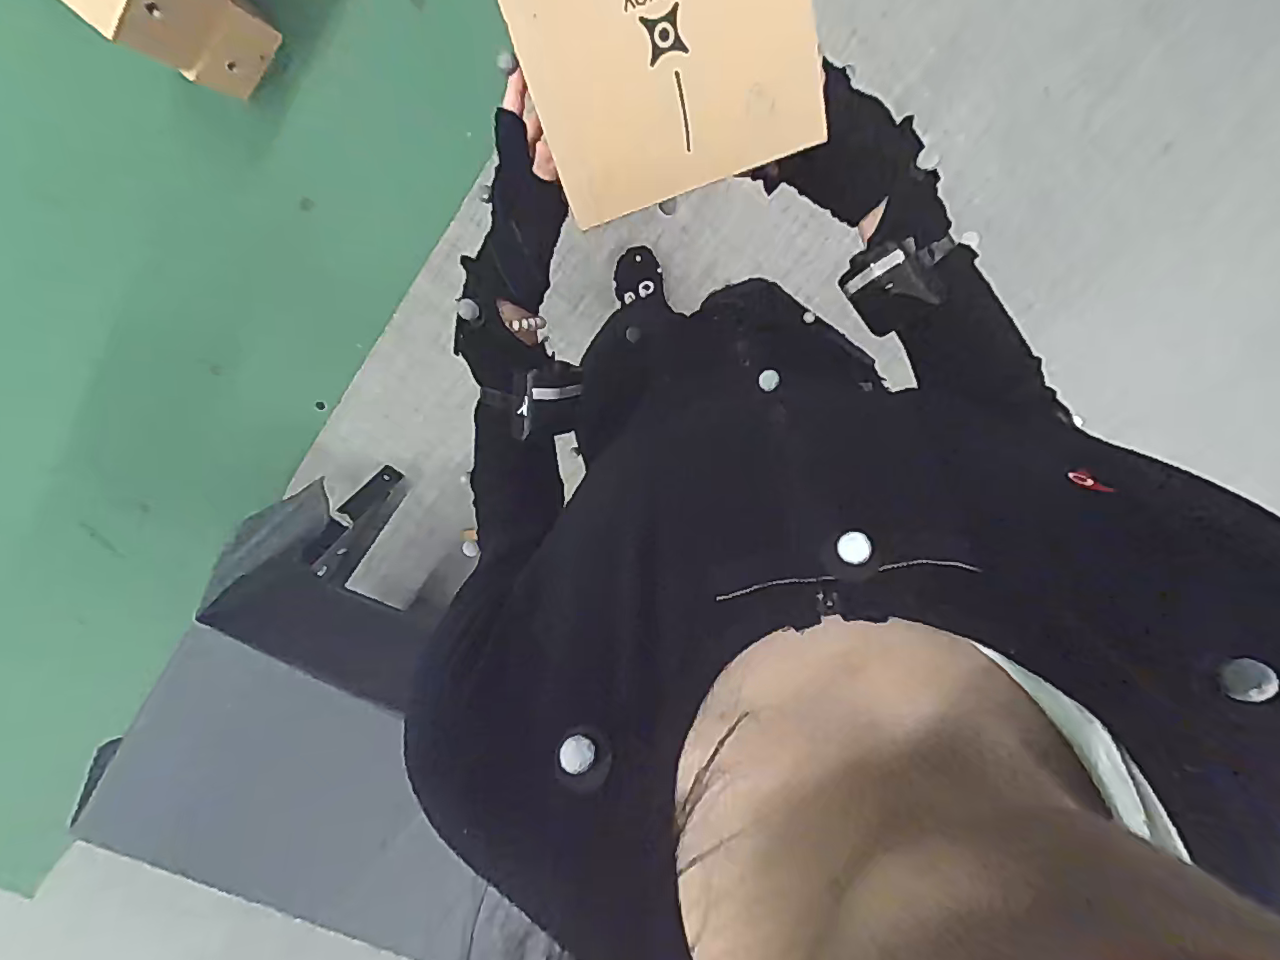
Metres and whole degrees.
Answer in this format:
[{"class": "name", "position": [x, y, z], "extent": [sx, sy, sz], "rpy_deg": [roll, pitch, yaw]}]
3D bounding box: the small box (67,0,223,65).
[{"class": "small box", "position": [-0.857, -0.855, 0.907], "extent": [0.168, 0.176, 0.179], "rpy_deg": [40, 106, -16]}]

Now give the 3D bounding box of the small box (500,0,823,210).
[{"class": "small box", "position": [0.000, -0.298, 0.361], "extent": [0.168, 0.176, 0.179], "rpy_deg": [-18, 119, 3]}]

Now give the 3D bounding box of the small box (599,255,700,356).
[{"class": "small box", "position": [0.019, -0.424, 1.310], "extent": [0.179, 0.176, 0.168], "rpy_deg": [34, 120, 2]}]

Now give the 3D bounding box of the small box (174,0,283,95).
[{"class": "small box", "position": [-0.859, -0.904, 1.065], "extent": [0.179, 0.176, 0.168], "rpy_deg": [41, 105, -16]}]
